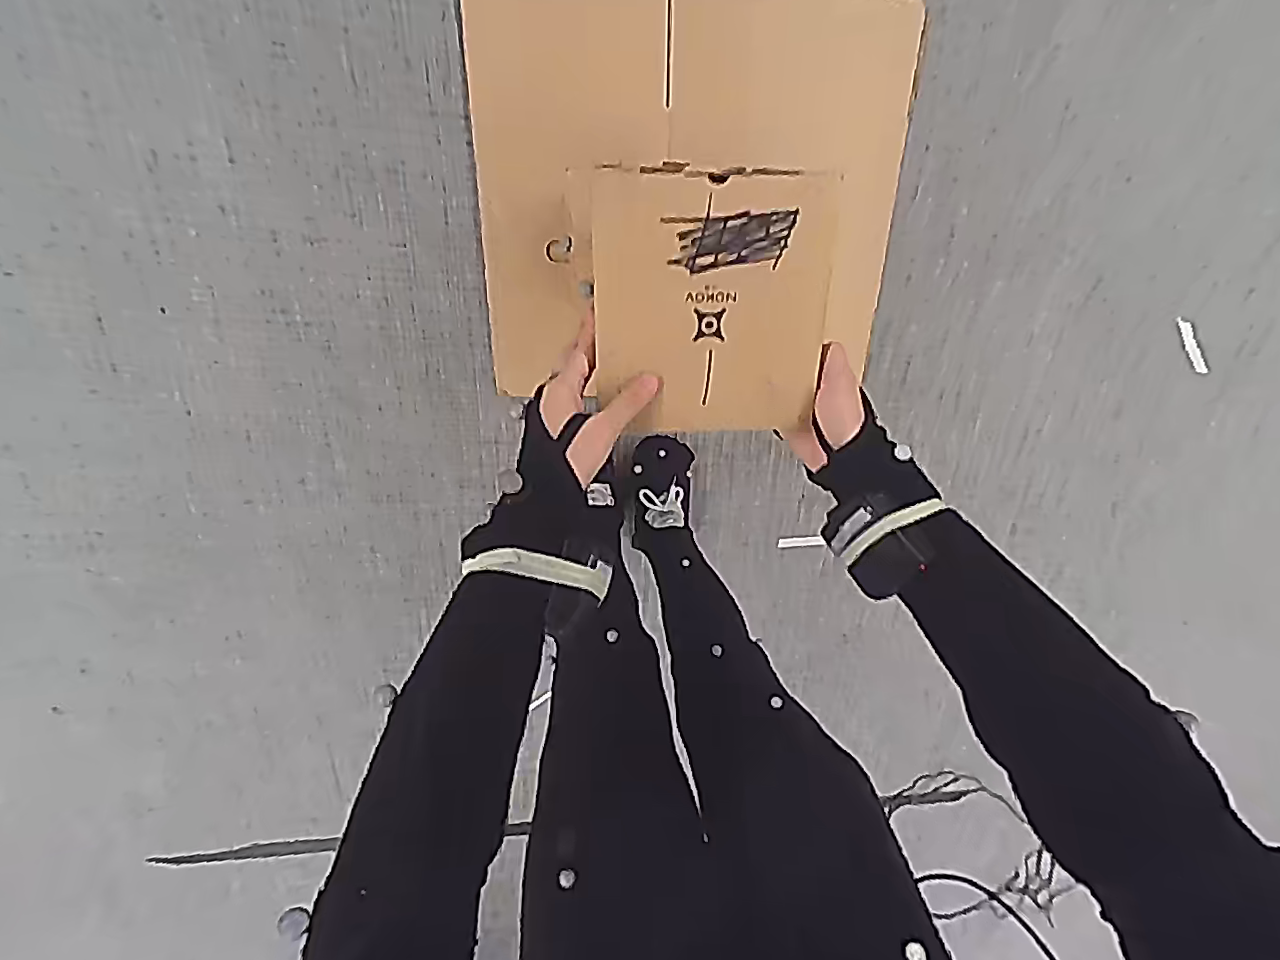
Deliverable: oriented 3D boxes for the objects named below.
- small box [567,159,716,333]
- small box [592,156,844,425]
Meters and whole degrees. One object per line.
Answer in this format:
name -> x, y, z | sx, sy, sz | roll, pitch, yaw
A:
small box -> -0.003, -0.285, 0.674 | 0.168, 0.176, 0.179 | -5, 113, -5
small box -> 0.044, -0.153, 0.449 | 0.168, 0.176, 0.179 | -1, 114, -4
